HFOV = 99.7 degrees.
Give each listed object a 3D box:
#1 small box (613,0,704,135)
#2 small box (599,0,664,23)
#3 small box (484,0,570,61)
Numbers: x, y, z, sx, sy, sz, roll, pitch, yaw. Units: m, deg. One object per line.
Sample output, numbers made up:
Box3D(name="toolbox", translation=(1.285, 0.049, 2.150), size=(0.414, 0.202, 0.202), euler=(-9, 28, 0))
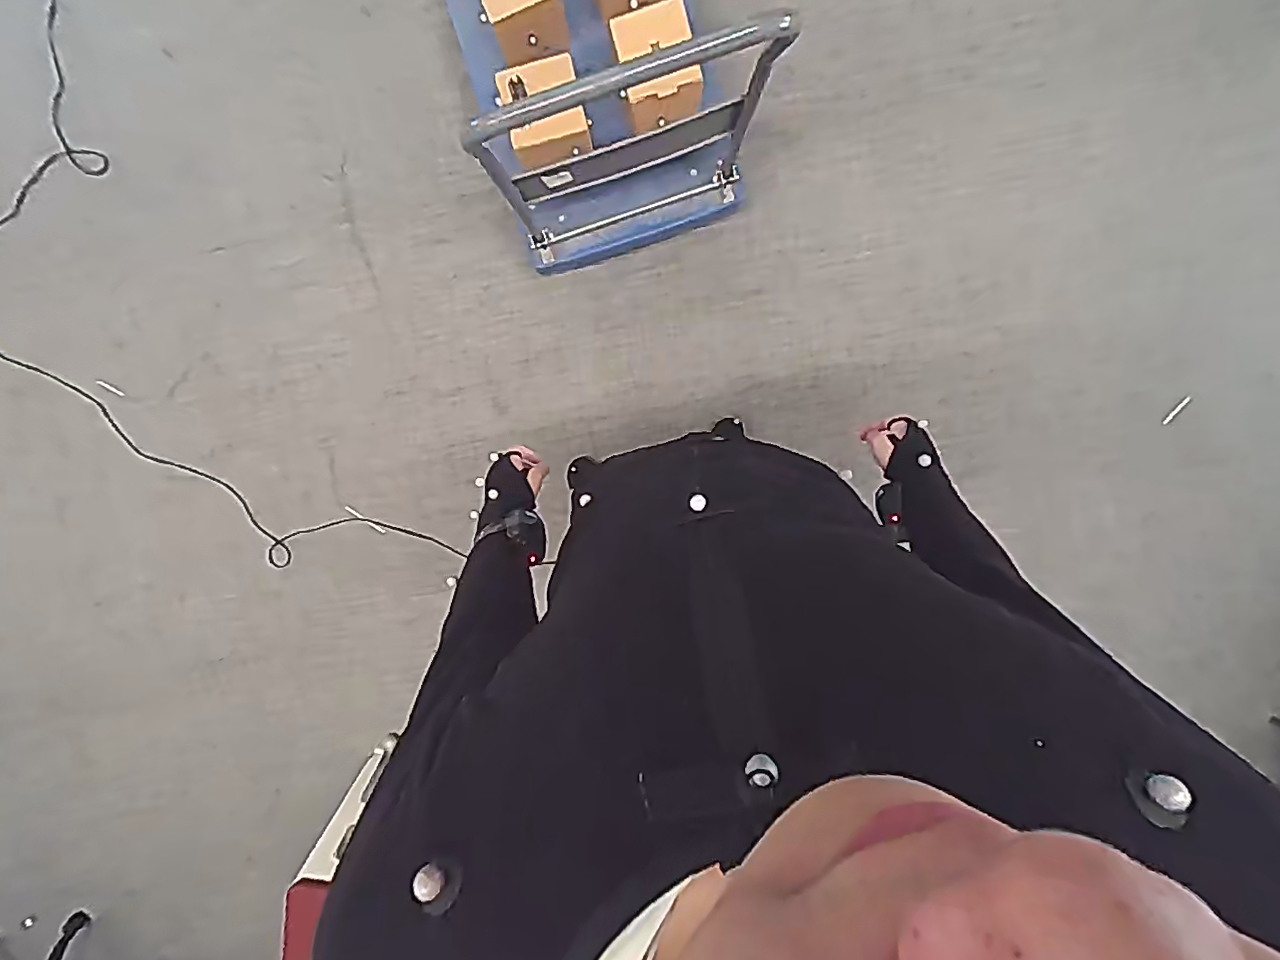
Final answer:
Box3D(name="small box", translation=(0.042, -0.956, 1.263), size=(0.168, 0.176, 0.179), euler=(-16, 97, 4))
Box3D(name="small box", translation=(-0.039, -1.212, 1.232), size=(0.168, 0.176, 0.179), euler=(-20, 97, 6))
Box3D(name="small box", translation=(-0.274, -1.123, 1.254), size=(0.168, 0.176, 0.179), euler=(-21, 96, 4))
